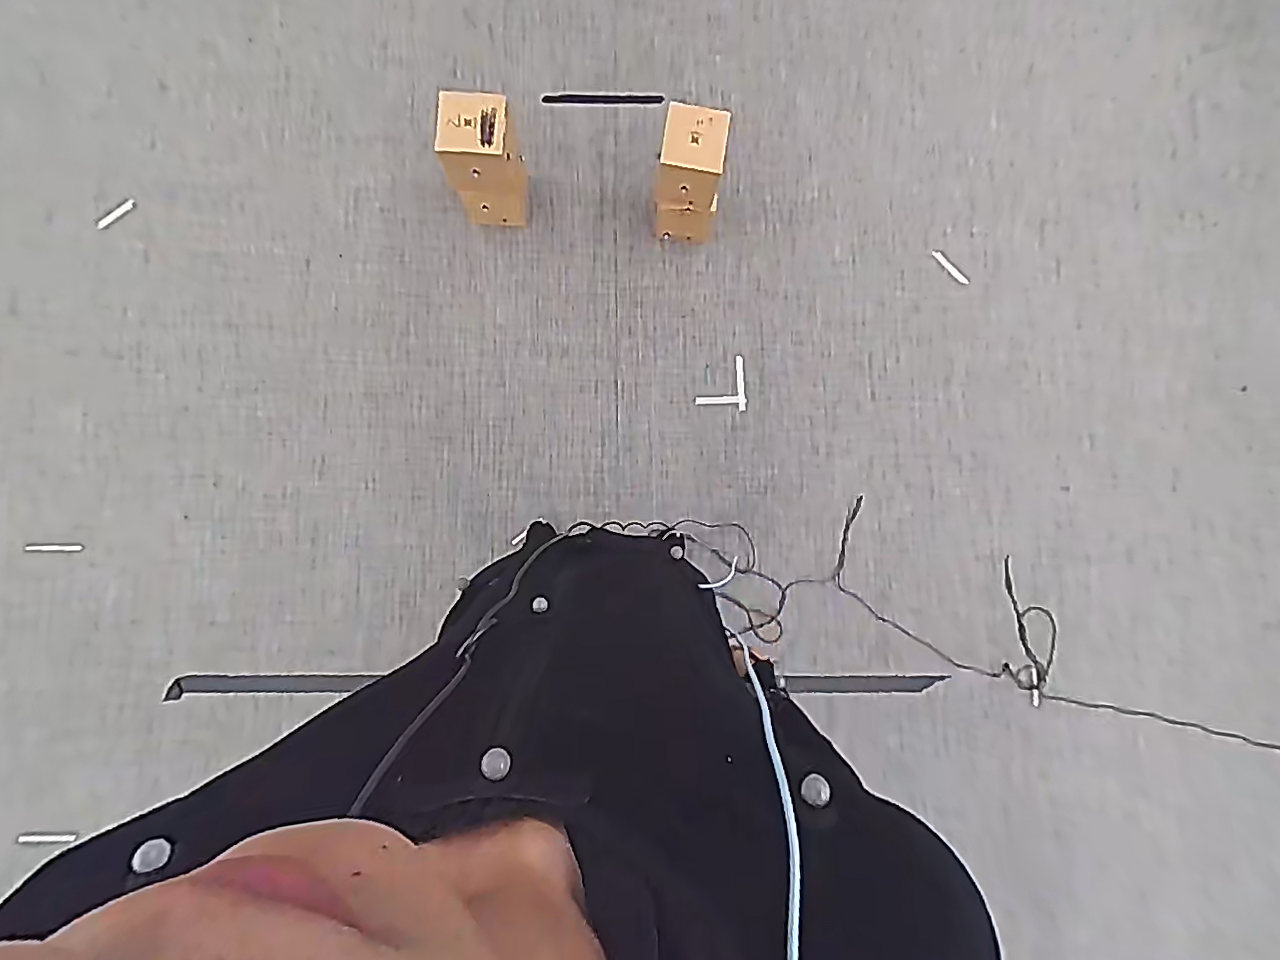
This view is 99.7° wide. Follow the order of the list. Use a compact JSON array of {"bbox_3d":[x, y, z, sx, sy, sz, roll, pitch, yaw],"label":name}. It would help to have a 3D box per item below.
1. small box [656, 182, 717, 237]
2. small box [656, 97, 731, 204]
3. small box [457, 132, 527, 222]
[{"bbox_3d":[0.137,-0.861,1.634,0.168,0.176,0.179,3,85,-3],"label":"small box"},{"bbox_3d":[0.138,-0.885,1.470,0.168,0.176,0.179,9,85,-3],"label":"small box"},{"bbox_3d":[-0.435,-0.898,1.615,0.168,0.176,0.179,2,85,-2],"label":"small box"}]
